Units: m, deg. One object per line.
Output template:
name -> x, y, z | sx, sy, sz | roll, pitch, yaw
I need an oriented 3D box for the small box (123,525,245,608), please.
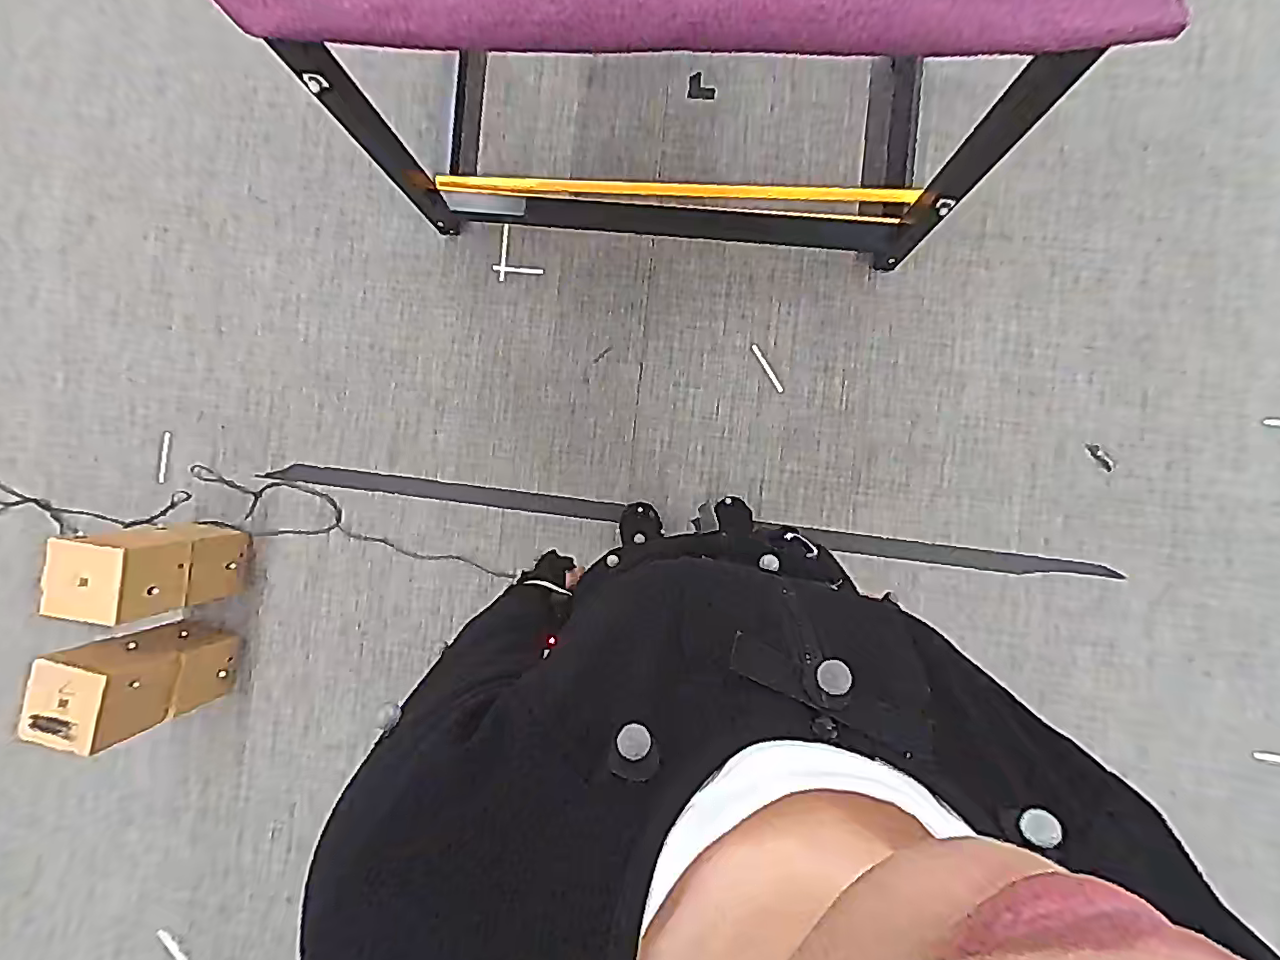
small box -> -1.140, 0.209, 1.348 | 0.179, 0.176, 0.168 | 8, 91, 3

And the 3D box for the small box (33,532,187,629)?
small box -> -1.149, 0.211, 1.186 | 0.179, 0.176, 0.168 | 7, 91, 4

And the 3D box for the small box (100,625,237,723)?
small box -> -1.166, 0.473, 1.347 | 0.179, 0.176, 0.168 | 13, 90, 2
